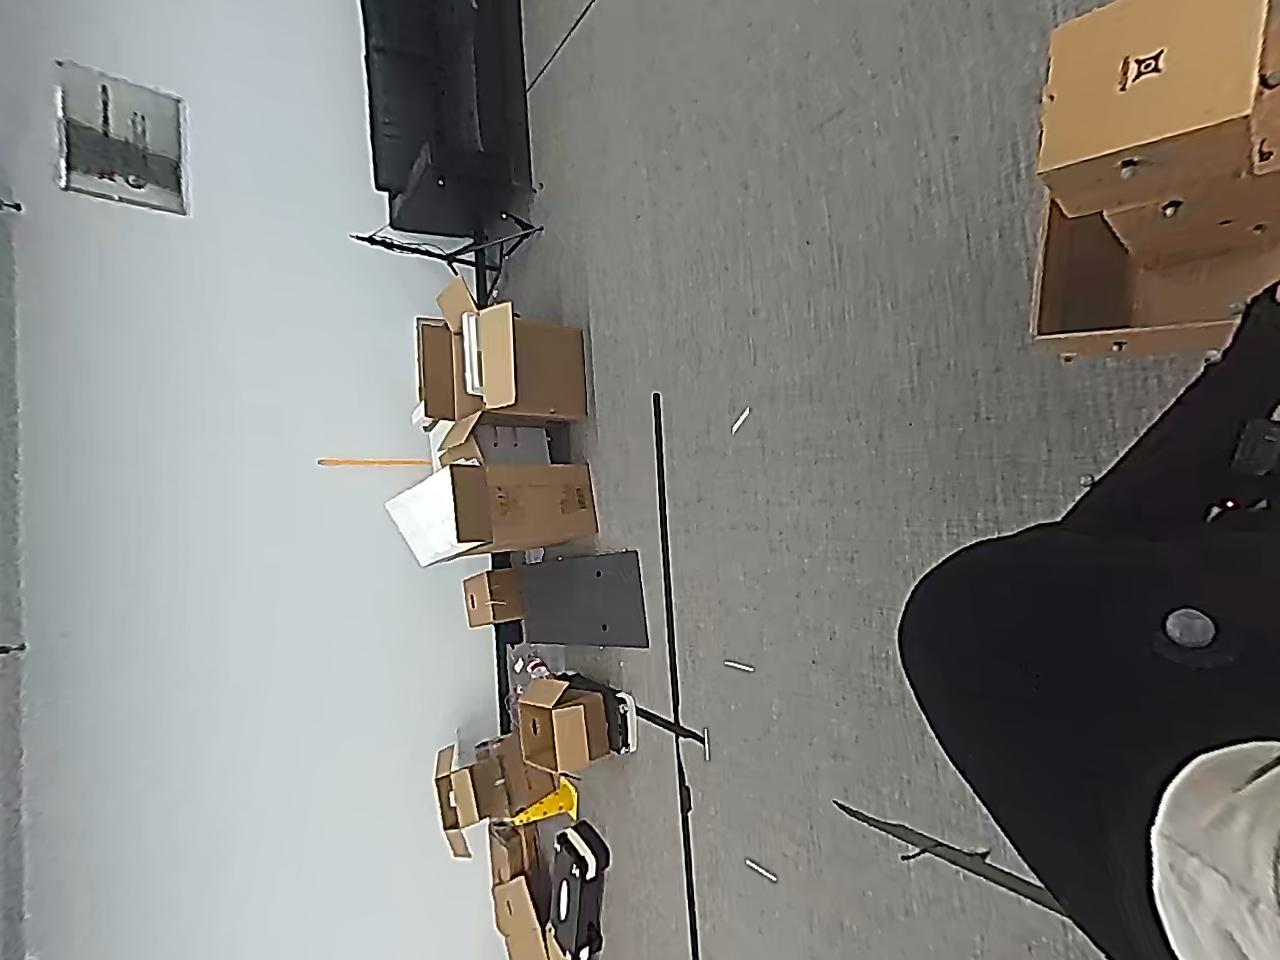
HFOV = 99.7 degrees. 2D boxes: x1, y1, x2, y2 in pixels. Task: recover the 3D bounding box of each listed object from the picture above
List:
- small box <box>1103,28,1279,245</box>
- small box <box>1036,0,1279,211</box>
[{"bbox_3d":[0.732,-0.436,0.704,0.168,0.176,0.179,4,94,51],"label":"small box"},{"bbox_3d":[0.590,-0.436,0.620,0.179,0.176,0.168,8,97,51],"label":"small box"}]
